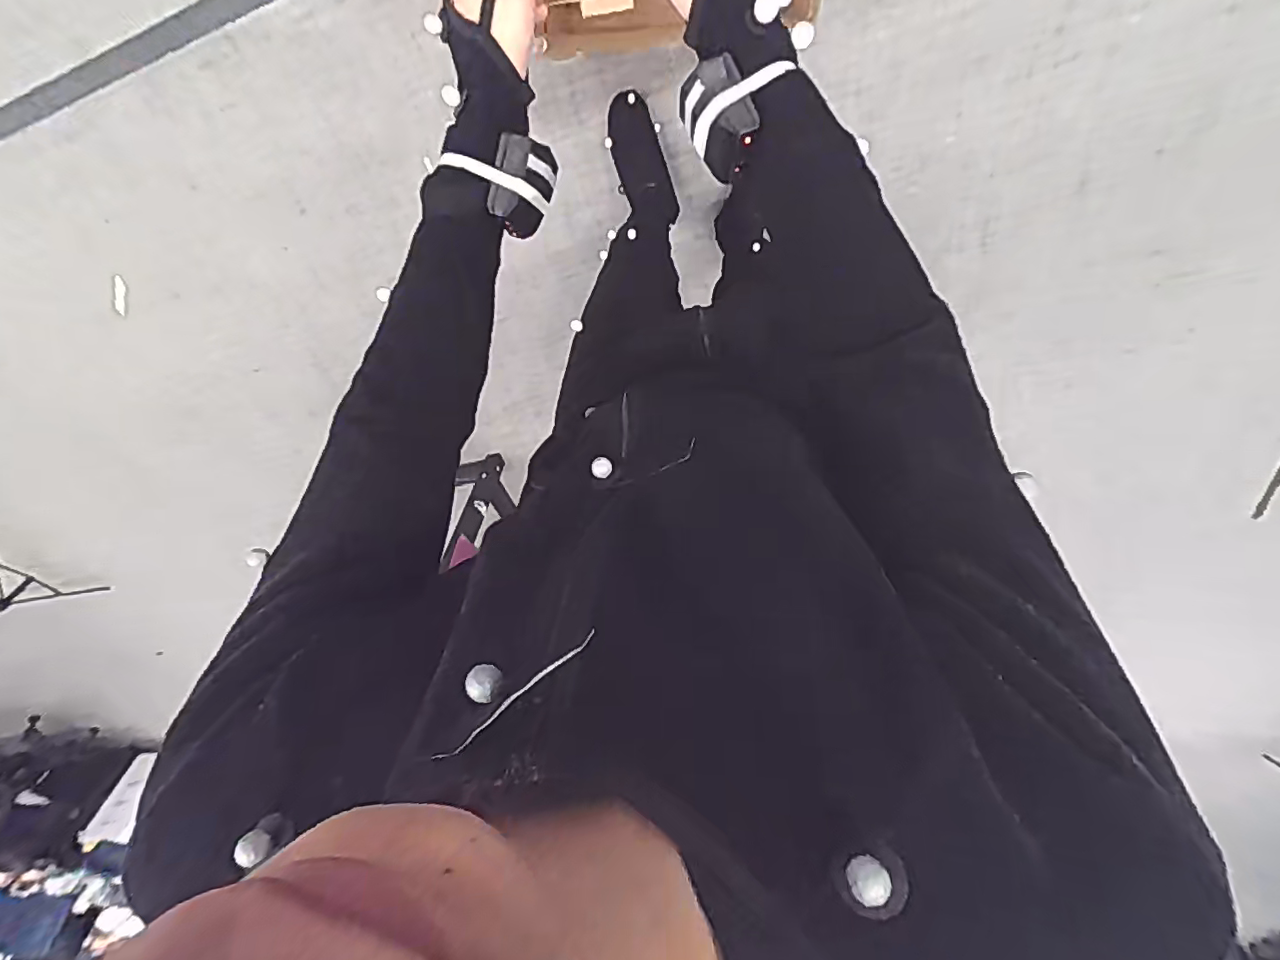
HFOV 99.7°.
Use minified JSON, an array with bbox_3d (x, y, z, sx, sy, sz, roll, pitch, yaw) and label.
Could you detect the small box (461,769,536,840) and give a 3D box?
[{"bbox_3d":[-0.493,1.143,1.906,0.179,0.176,0.168,-19,128,20],"label":"small box"}]
